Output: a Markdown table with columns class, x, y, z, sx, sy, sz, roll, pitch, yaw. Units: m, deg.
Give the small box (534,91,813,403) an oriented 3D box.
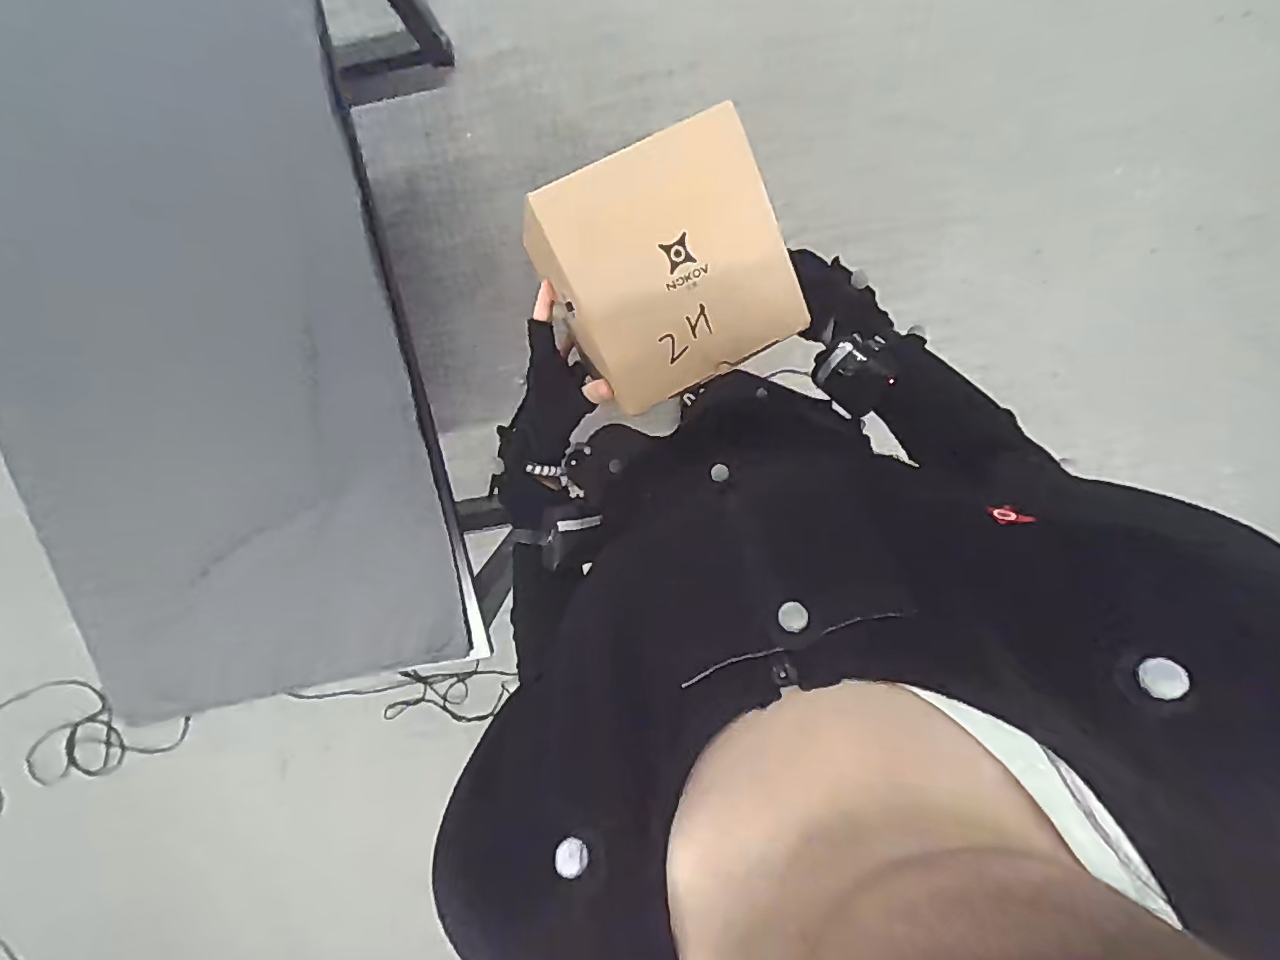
| class | x | y | z | sx | sy | sz | roll | pitch | yaw |
| --- | --- | --- | --- | --- | --- | --- | --- | --- | --- |
| small box | 0.016 | -0.185 | 0.476 | 0.168 | 0.176 | 0.179 | -27 | 108 | -5 |
